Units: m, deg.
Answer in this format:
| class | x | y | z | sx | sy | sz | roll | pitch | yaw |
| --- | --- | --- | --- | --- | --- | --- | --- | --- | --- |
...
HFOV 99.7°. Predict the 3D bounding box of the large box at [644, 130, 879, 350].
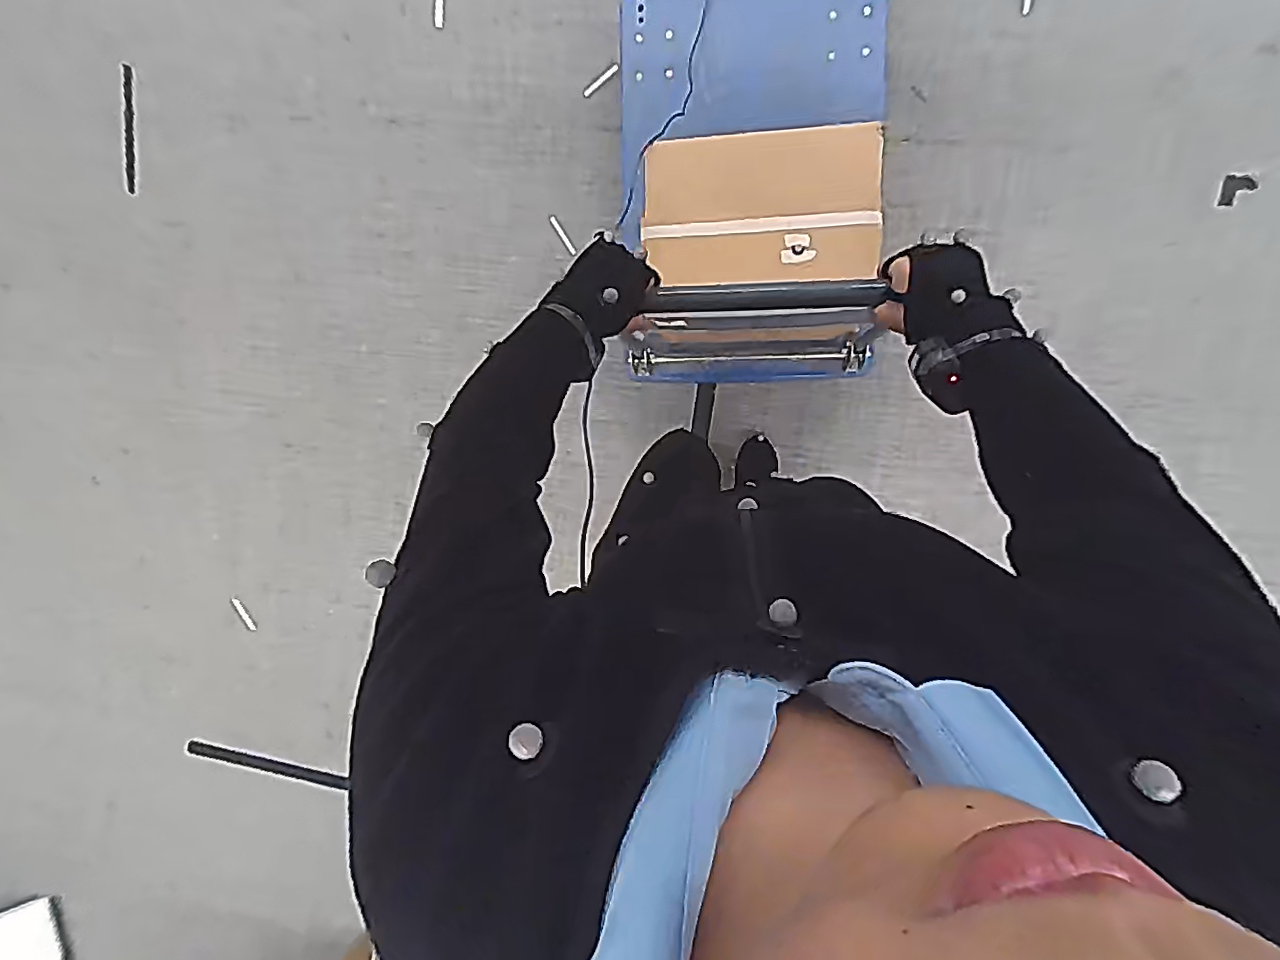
| class | x | y | z | sx | sy | sz | roll | pitch | yaw |
| --- | --- | --- | --- | --- | --- | --- | --- | --- | --- |
| large box | 0.227 | -0.447 | 1.093 | 0.408 | 0.320 | 0.320 | 0 | 97 | 8 |
